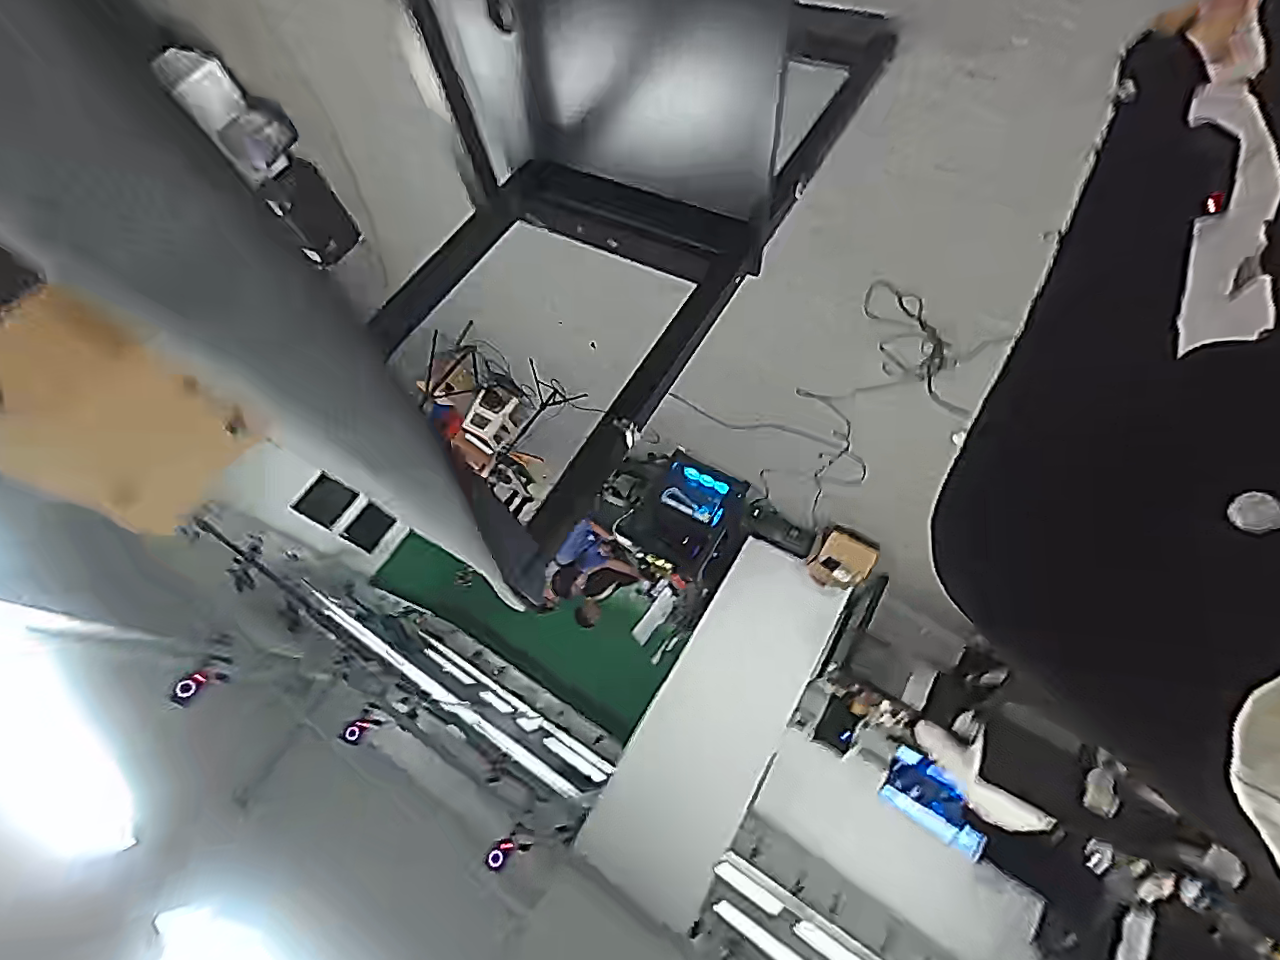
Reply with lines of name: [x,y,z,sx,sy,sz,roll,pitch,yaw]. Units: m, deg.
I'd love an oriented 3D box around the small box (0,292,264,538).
small box: [-0.556,-0.070,0.580,0.179,0.176,0.168,28,161,19]
